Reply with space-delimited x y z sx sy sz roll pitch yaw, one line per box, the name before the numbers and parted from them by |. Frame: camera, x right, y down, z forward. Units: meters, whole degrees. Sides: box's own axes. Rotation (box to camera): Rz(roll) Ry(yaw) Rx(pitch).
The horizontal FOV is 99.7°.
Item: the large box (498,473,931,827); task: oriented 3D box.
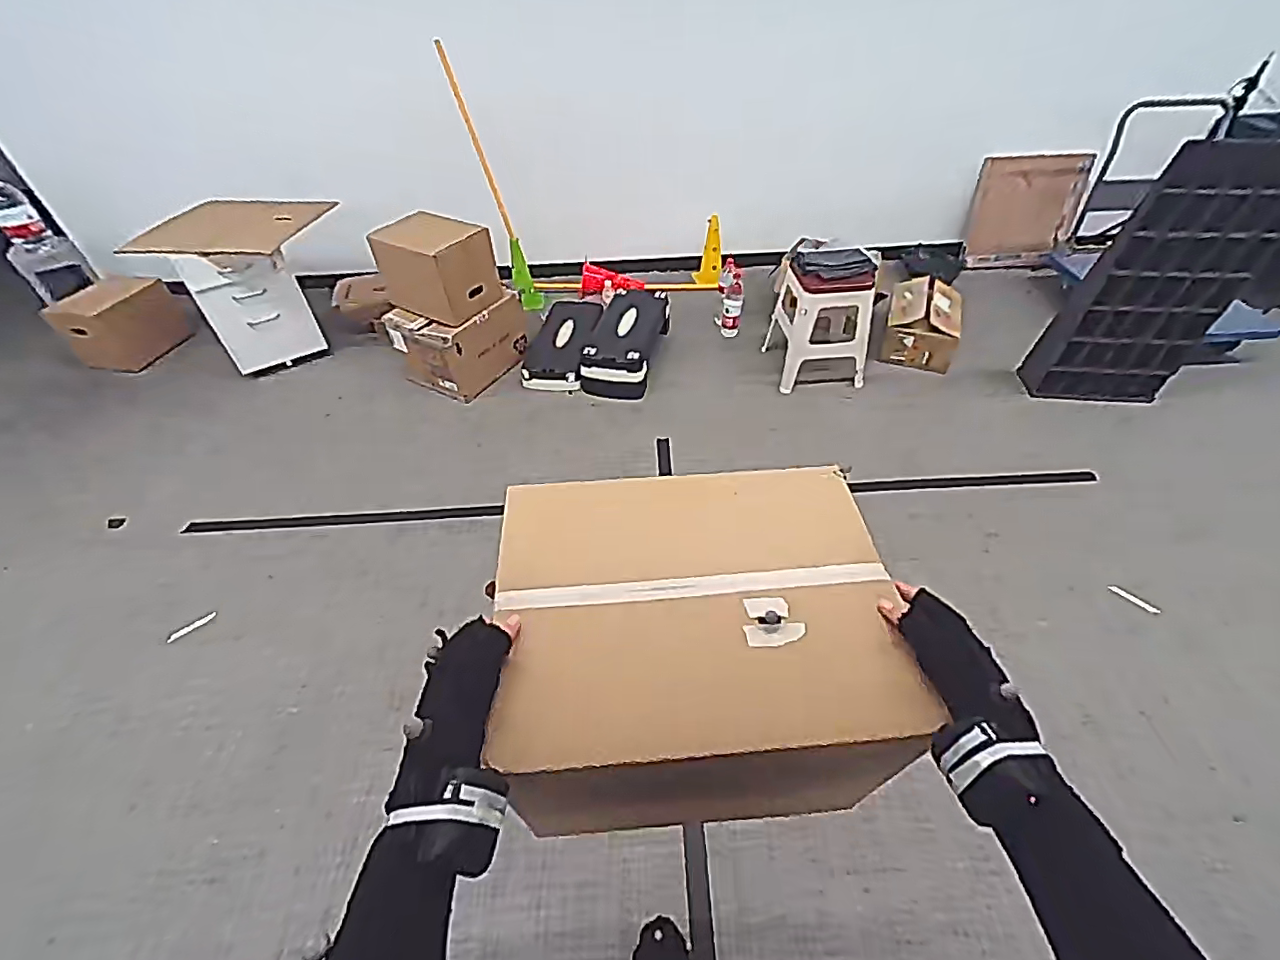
large box | 0.055 0.217 0.687 0.408 0.320 0.320 -3 50 -4
